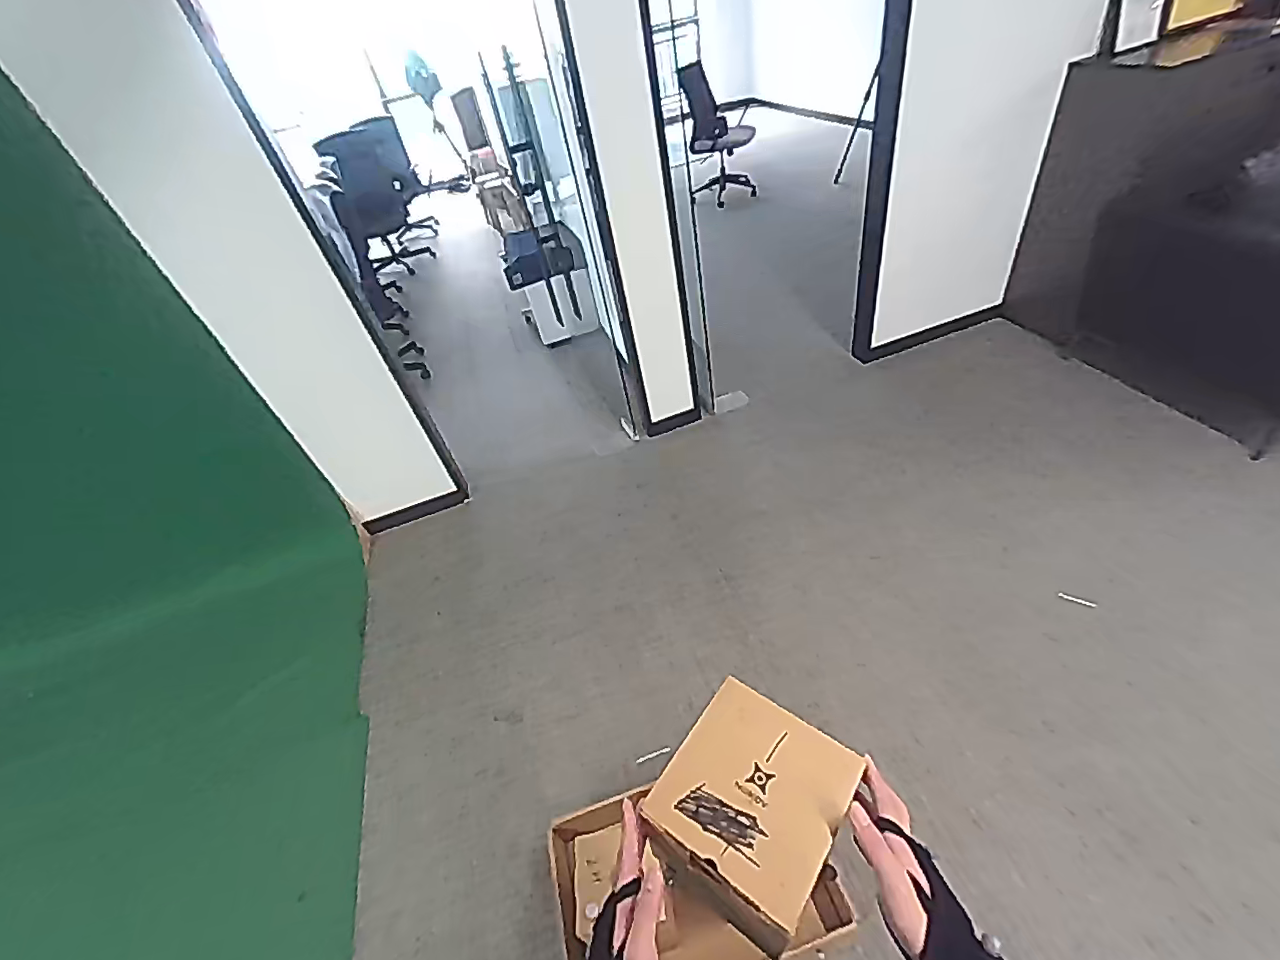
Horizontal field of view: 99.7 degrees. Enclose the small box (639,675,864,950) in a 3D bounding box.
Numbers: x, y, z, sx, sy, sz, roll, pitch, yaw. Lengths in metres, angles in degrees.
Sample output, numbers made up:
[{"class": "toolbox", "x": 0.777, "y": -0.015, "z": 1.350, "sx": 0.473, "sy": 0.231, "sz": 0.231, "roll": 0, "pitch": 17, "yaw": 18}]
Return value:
[{"class": "small box", "x": 0.122, "y": 0.363, "z": 0.595, "sx": 0.168, "sy": 0.176, "sz": 0.179, "roll": 25, "pitch": 51, "yaw": 30}]
